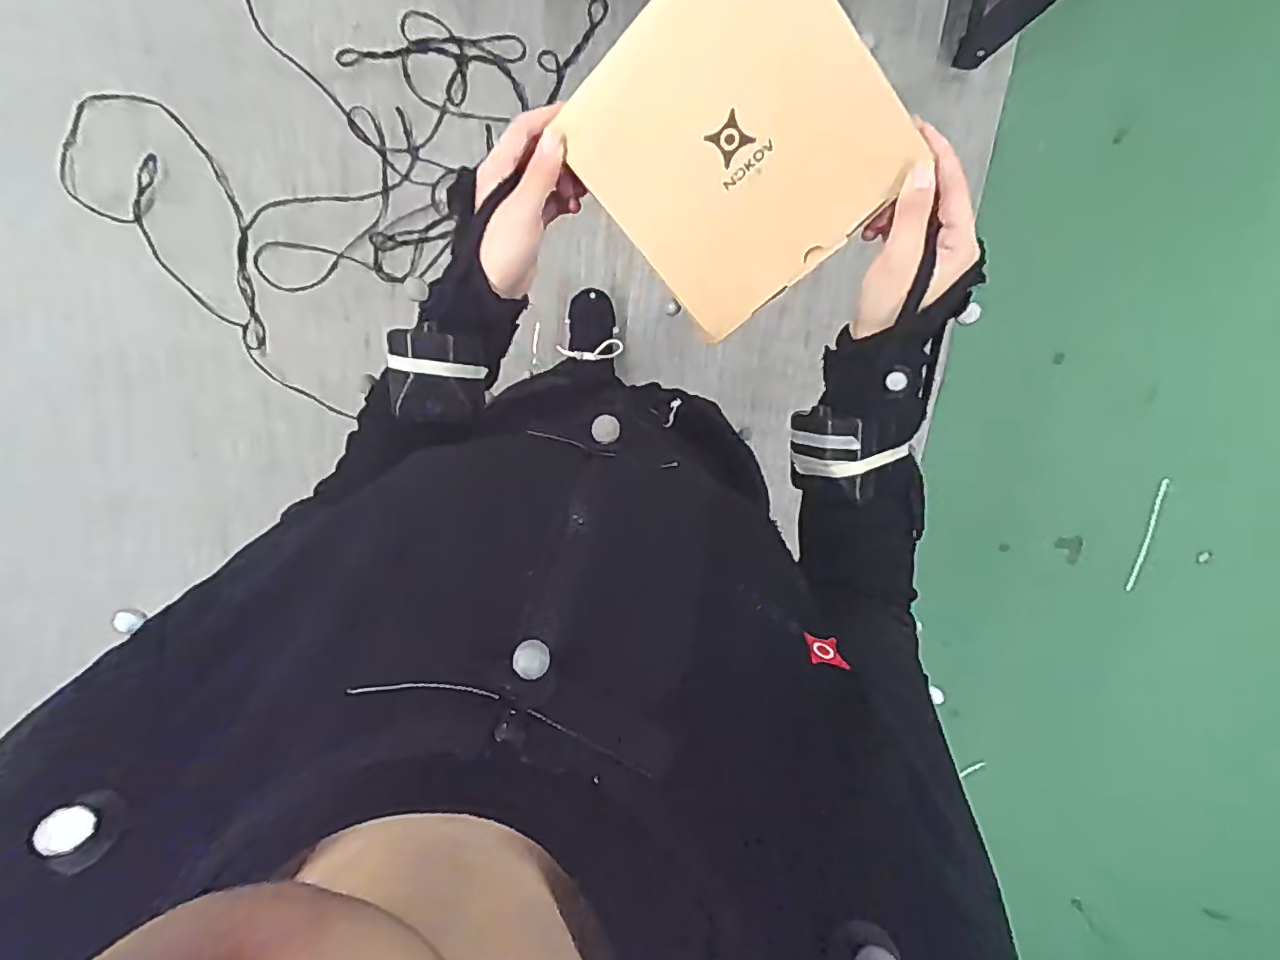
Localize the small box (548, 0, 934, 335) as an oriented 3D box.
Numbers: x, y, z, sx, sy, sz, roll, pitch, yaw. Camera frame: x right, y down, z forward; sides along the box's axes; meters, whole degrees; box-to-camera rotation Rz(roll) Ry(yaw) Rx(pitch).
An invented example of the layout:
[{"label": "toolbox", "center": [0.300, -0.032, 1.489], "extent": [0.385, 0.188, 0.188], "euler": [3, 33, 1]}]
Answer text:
[{"label": "small box", "center": [0.067, -0.236, 0.396], "extent": [0.168, 0.176, 0.179], "euler": [-38, 105, 22]}]
